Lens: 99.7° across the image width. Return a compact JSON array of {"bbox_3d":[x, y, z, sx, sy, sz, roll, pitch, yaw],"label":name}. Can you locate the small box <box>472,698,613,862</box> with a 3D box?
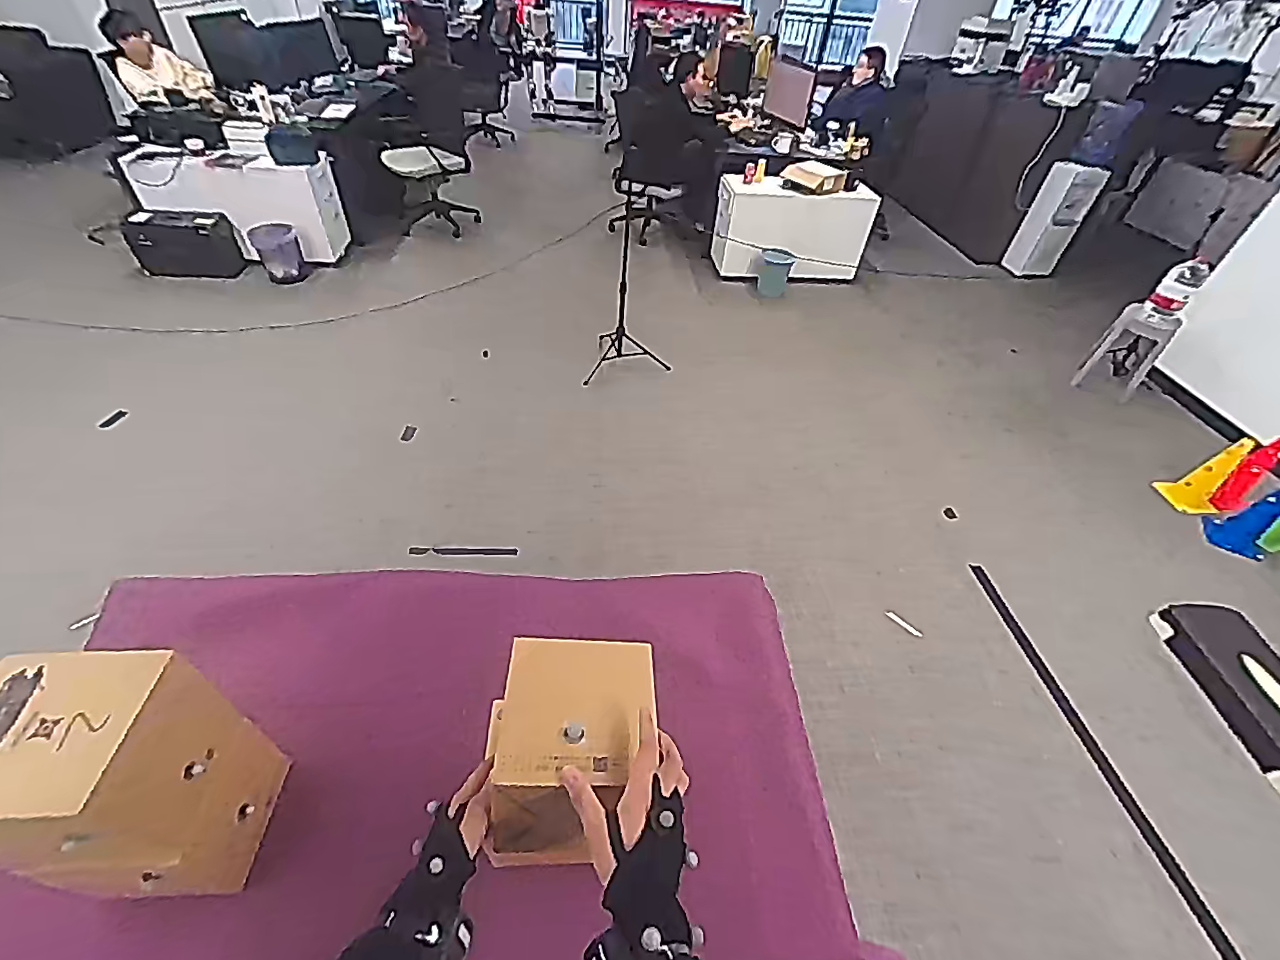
[{"bbox_3d":[-0.124,0.422,0.761,0.179,0.176,0.168,1,44,-5],"label":"small box"}]

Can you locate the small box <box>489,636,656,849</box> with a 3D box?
[{"bbox_3d":[-0.077,0.305,0.626,0.168,0.179,0.176,4,38,-8],"label":"small box"}]

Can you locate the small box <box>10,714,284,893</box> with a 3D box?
[{"bbox_3d":[-0.609,0.422,0.706,0.179,0.176,0.168,2,44,-5],"label":"small box"}]
